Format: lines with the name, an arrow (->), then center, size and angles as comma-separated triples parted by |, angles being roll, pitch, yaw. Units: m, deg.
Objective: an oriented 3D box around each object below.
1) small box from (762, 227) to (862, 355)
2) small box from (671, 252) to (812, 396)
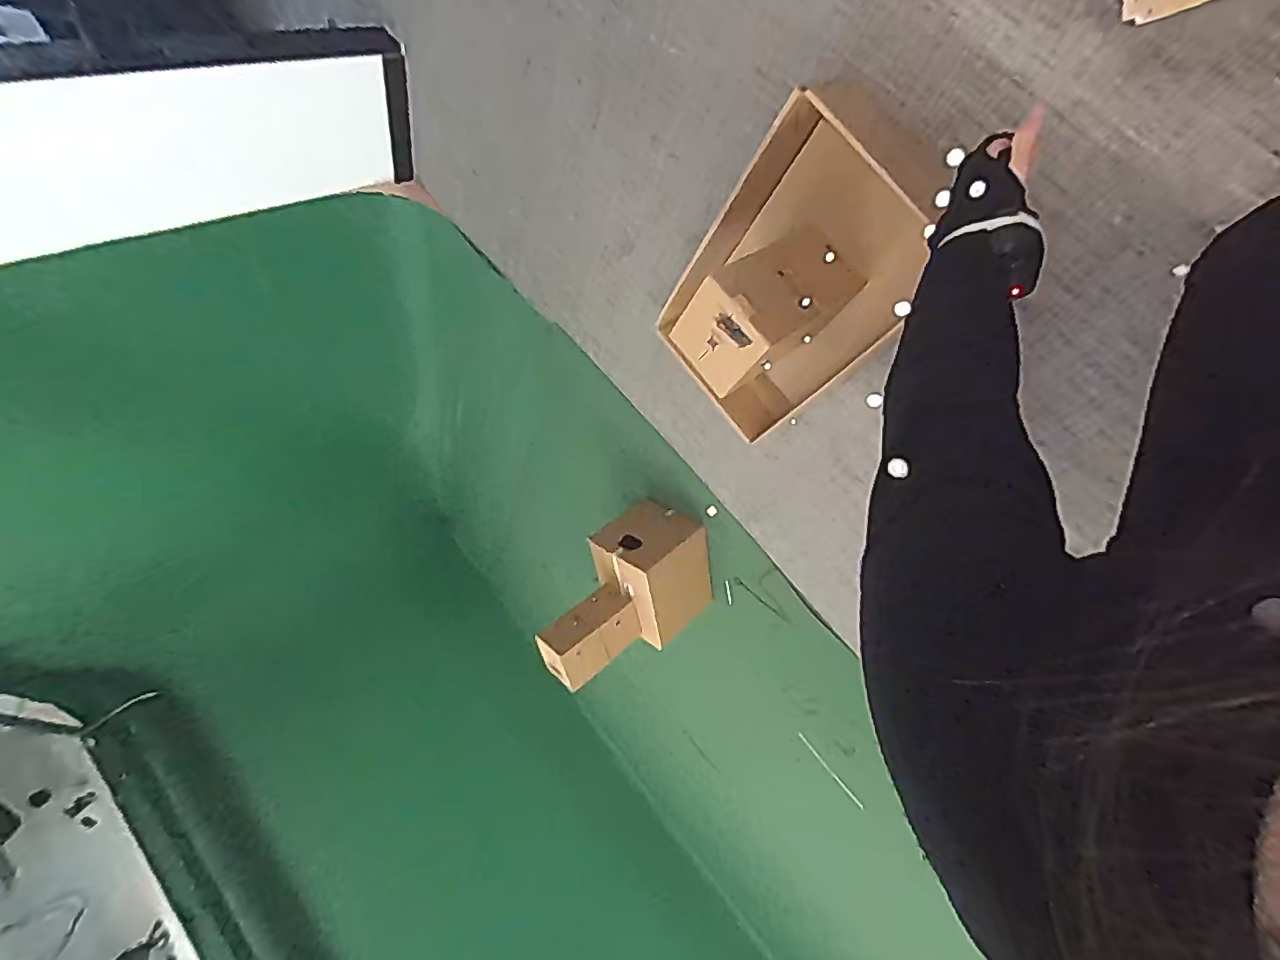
small box -> 0.311, -0.378, 1.104 | 0.168, 0.176, 0.179 | 51, 148, 6
small box -> 0.196, -0.296, 1.019 | 0.168, 0.176, 0.179 | 52, 150, 5
